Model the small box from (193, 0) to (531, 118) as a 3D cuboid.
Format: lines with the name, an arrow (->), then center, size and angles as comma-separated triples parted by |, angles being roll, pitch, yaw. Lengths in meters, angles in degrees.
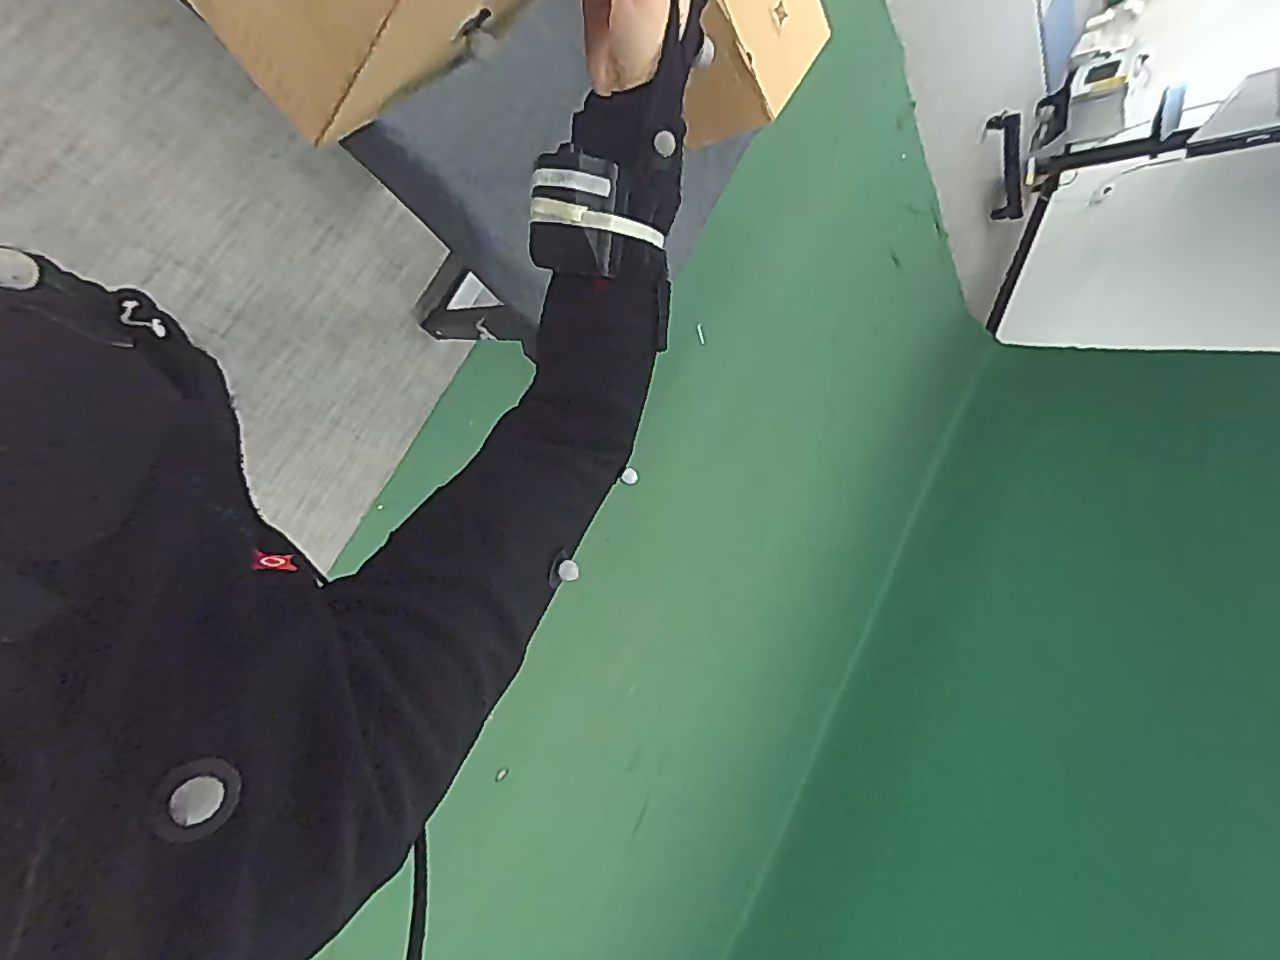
small box -> -0.129, -0.297, 0.235 | 0.168, 0.176, 0.179 | -53, 126, -23

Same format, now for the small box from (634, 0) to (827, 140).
small box -> 0.123, -0.616, 0.748 | 0.168, 0.176, 0.179 | 41, 76, -42
